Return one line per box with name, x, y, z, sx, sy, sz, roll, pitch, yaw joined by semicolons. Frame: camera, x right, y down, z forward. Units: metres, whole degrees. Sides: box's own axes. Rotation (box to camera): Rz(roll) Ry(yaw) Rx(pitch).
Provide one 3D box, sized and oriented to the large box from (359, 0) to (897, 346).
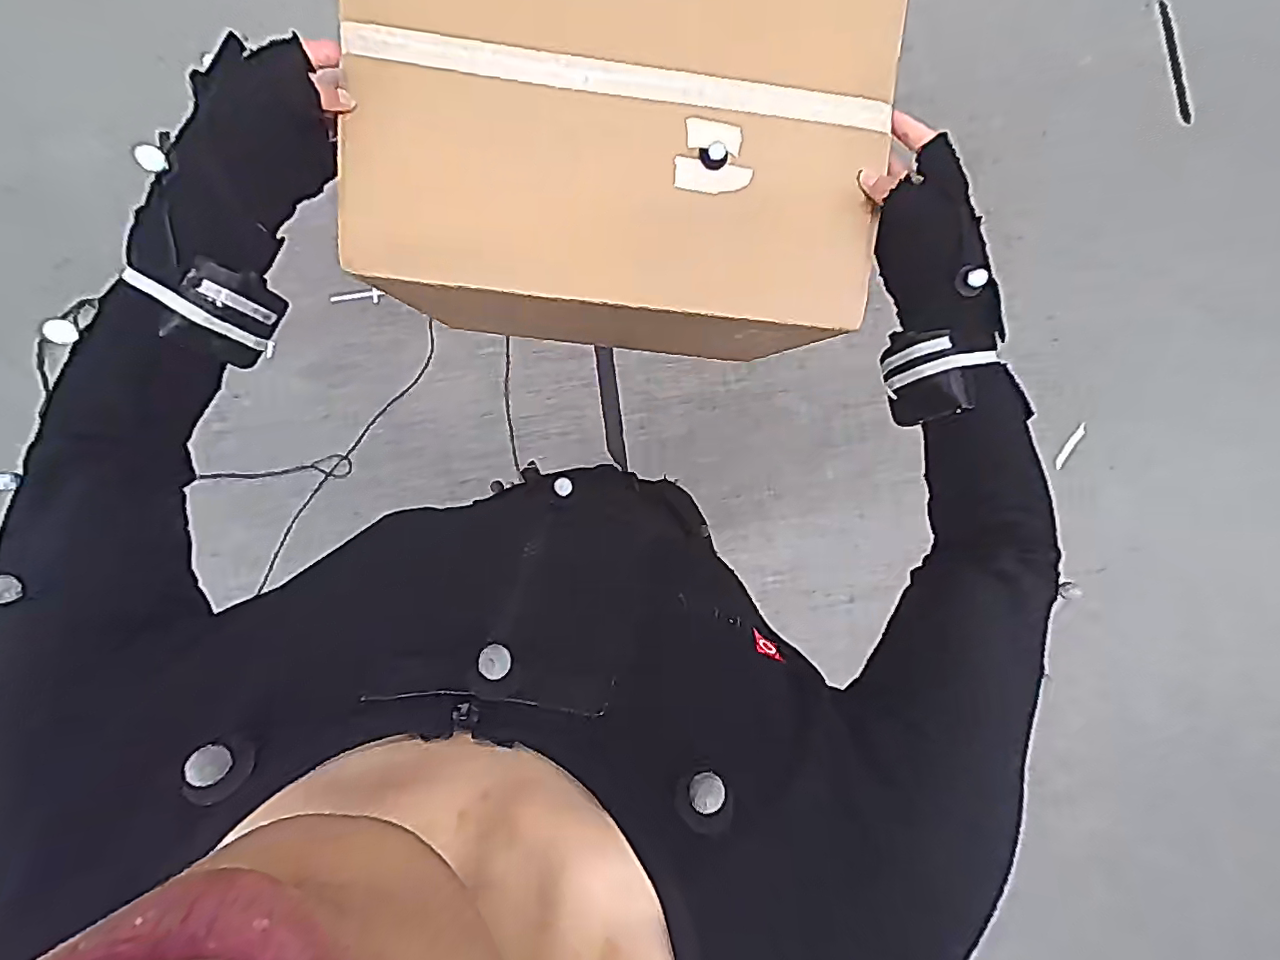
large box;-0.020;-0.323;0.554;0.408;0.320;0.320;4;98;-6
